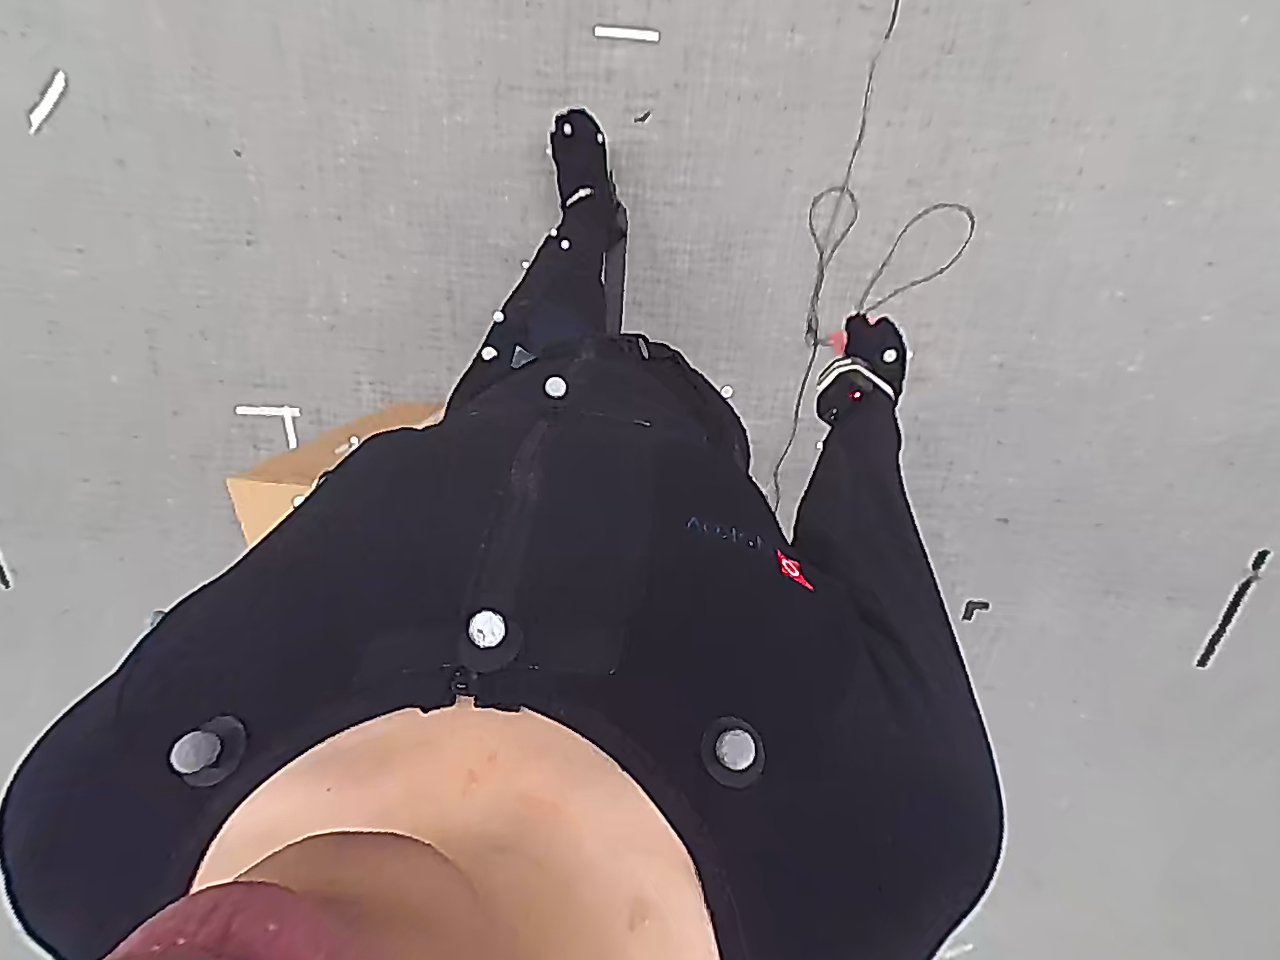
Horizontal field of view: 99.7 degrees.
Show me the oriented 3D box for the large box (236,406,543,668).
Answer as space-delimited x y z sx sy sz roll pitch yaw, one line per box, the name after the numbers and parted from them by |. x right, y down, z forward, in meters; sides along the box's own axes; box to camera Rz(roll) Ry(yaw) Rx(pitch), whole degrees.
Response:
-0.398 0.071 0.986 0.320 0.408 0.320 3 114 12 | large box
